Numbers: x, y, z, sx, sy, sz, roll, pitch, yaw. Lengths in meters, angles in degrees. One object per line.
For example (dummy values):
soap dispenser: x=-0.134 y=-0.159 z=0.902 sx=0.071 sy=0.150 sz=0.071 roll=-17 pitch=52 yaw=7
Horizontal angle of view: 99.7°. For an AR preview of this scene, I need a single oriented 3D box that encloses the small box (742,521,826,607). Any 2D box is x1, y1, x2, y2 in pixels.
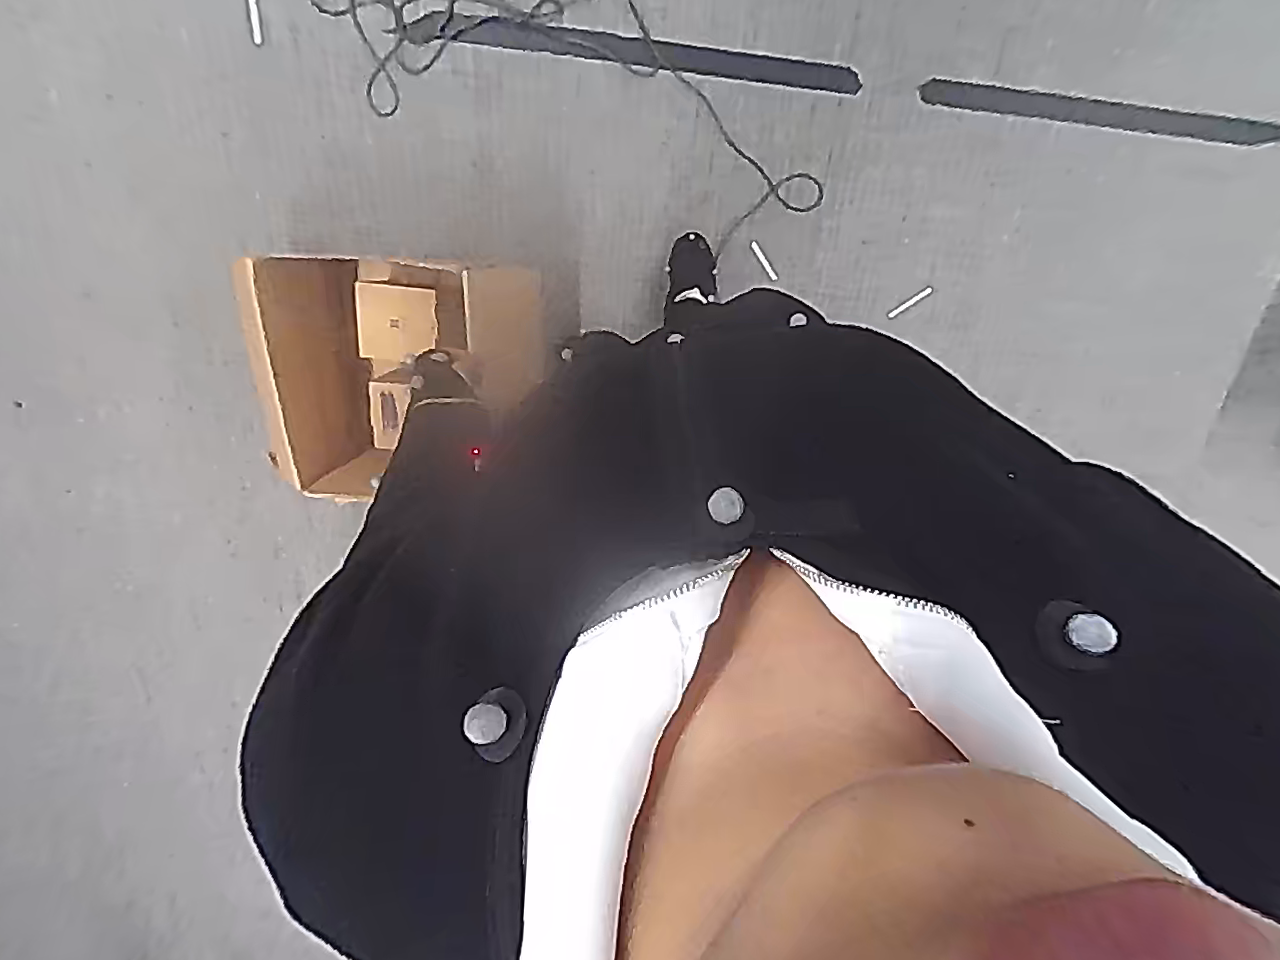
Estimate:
small box: x=0.395 y=0.230 z=1.520 sx=0.168 sy=0.176 sz=0.179 roll=7 pitch=110 yaw=-5
